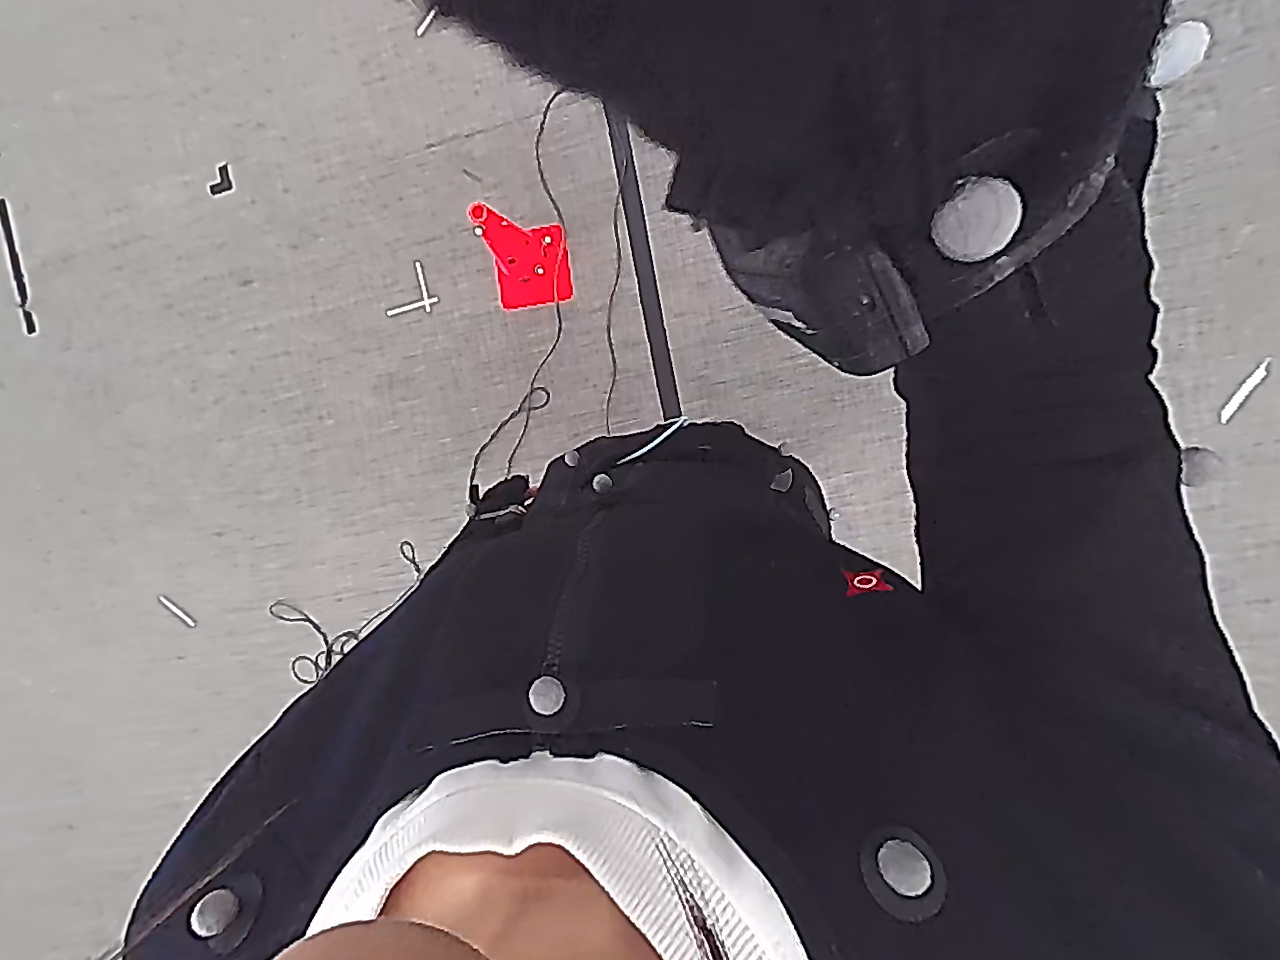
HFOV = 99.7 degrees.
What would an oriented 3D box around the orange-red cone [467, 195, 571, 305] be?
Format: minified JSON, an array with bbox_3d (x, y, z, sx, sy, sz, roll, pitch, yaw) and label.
[{"bbox_3d":[-0.306,-0.557,1.248,0.199,0.360,0.198,-6,93,9],"label":"orange-red cone"}]
